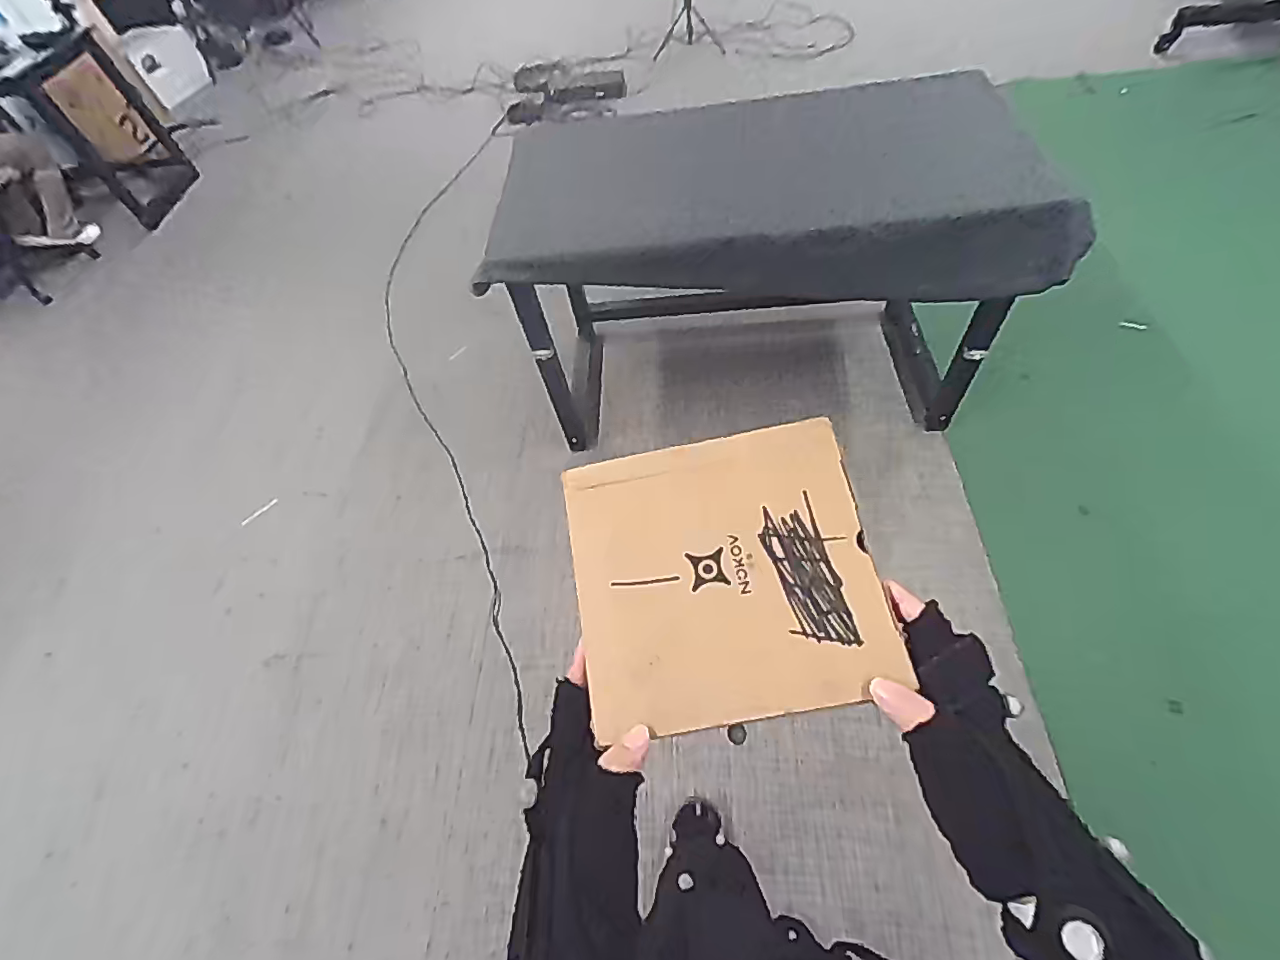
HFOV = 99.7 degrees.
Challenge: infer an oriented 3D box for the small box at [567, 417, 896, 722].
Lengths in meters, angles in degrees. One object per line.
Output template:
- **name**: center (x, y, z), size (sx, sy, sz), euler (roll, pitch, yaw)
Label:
- **small box**: center (0.055, 0.075, 0.406), size (0.179, 0.176, 0.168), euler (-11, 68, 2)
